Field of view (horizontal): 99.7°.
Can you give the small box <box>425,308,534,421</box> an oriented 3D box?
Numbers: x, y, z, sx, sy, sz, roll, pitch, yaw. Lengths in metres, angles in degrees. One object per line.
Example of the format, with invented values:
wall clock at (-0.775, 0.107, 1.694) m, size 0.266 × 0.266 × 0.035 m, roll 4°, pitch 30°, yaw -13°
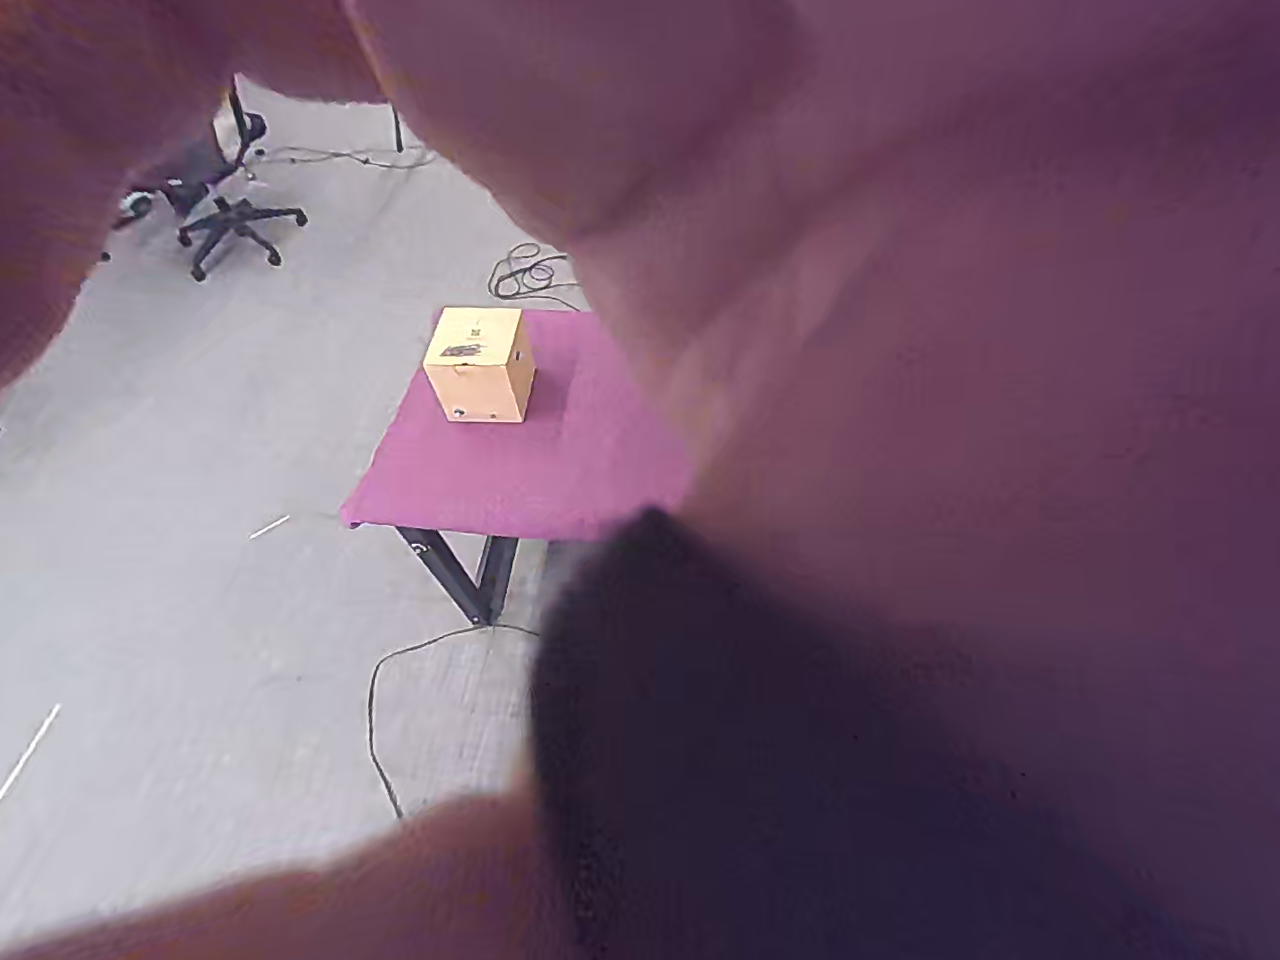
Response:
small box at (-0.330, -0.243, 1.153) m, size 0.168 × 0.176 × 0.179 m, roll 2°, pitch 54°, yaw 2°
